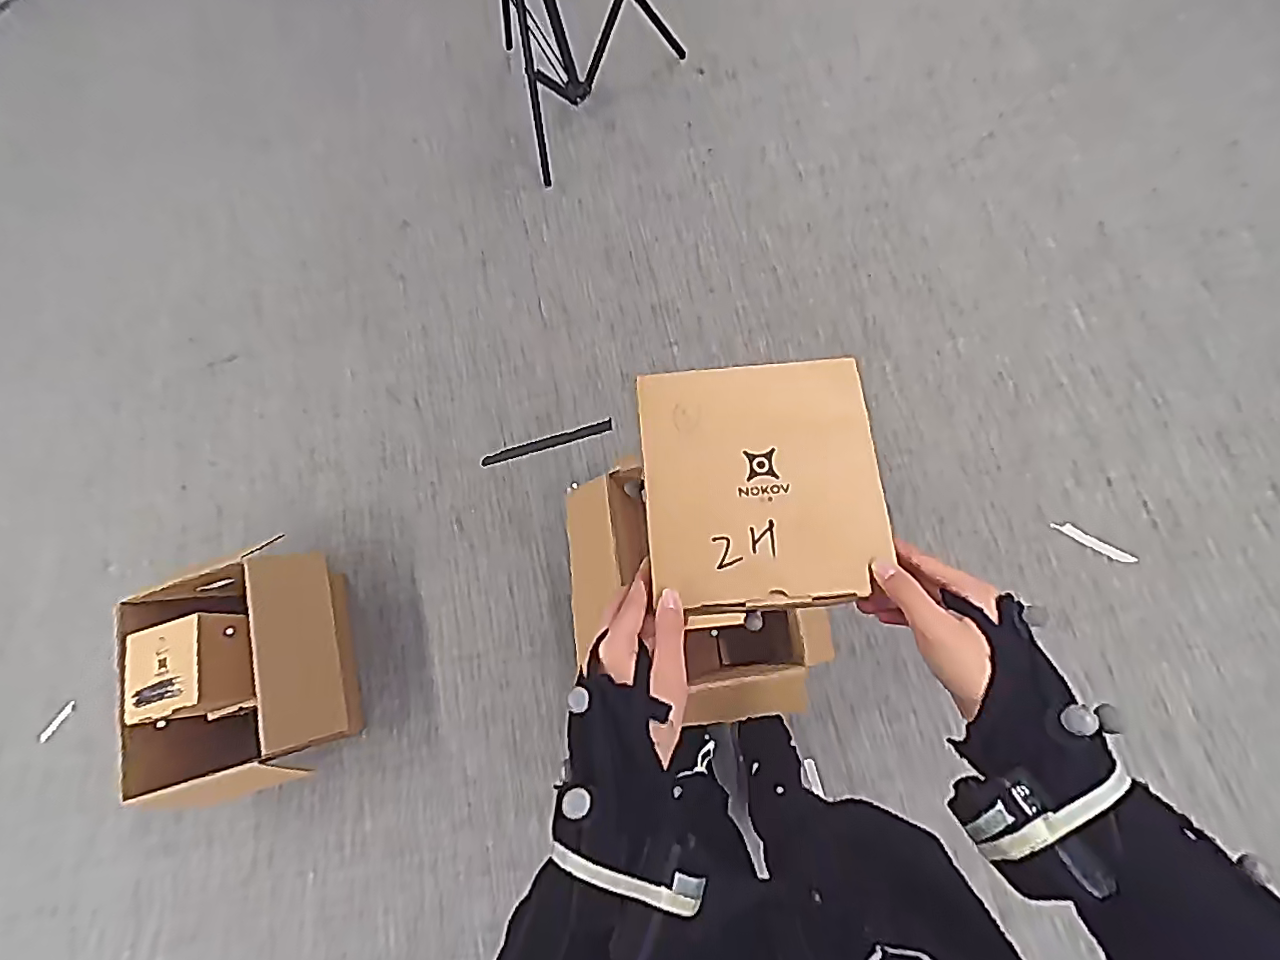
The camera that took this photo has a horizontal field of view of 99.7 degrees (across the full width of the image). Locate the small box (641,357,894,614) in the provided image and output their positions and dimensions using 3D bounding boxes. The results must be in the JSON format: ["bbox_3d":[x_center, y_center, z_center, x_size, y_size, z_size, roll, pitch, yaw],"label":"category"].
[{"bbox_3d":[0.087,0.017,0.464,0.168,0.176,0.179,-5,74,1],"label":"small box"}]
